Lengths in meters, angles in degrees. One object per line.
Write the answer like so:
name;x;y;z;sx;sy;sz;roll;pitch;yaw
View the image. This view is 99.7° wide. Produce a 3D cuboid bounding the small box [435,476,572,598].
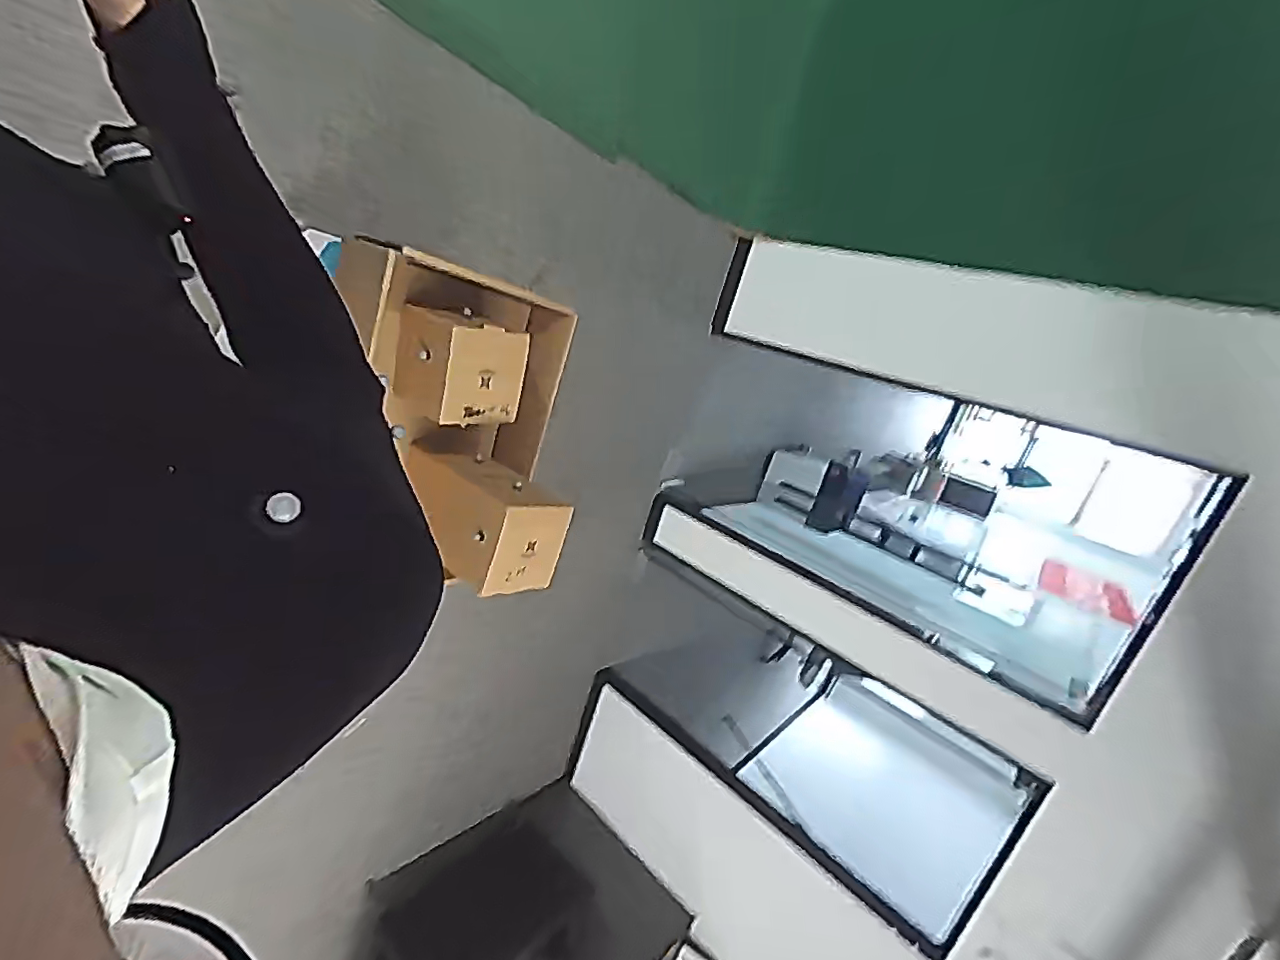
small box;-0.266;0.103;1.036;0.168;0.176;0.179;6;107;-54
